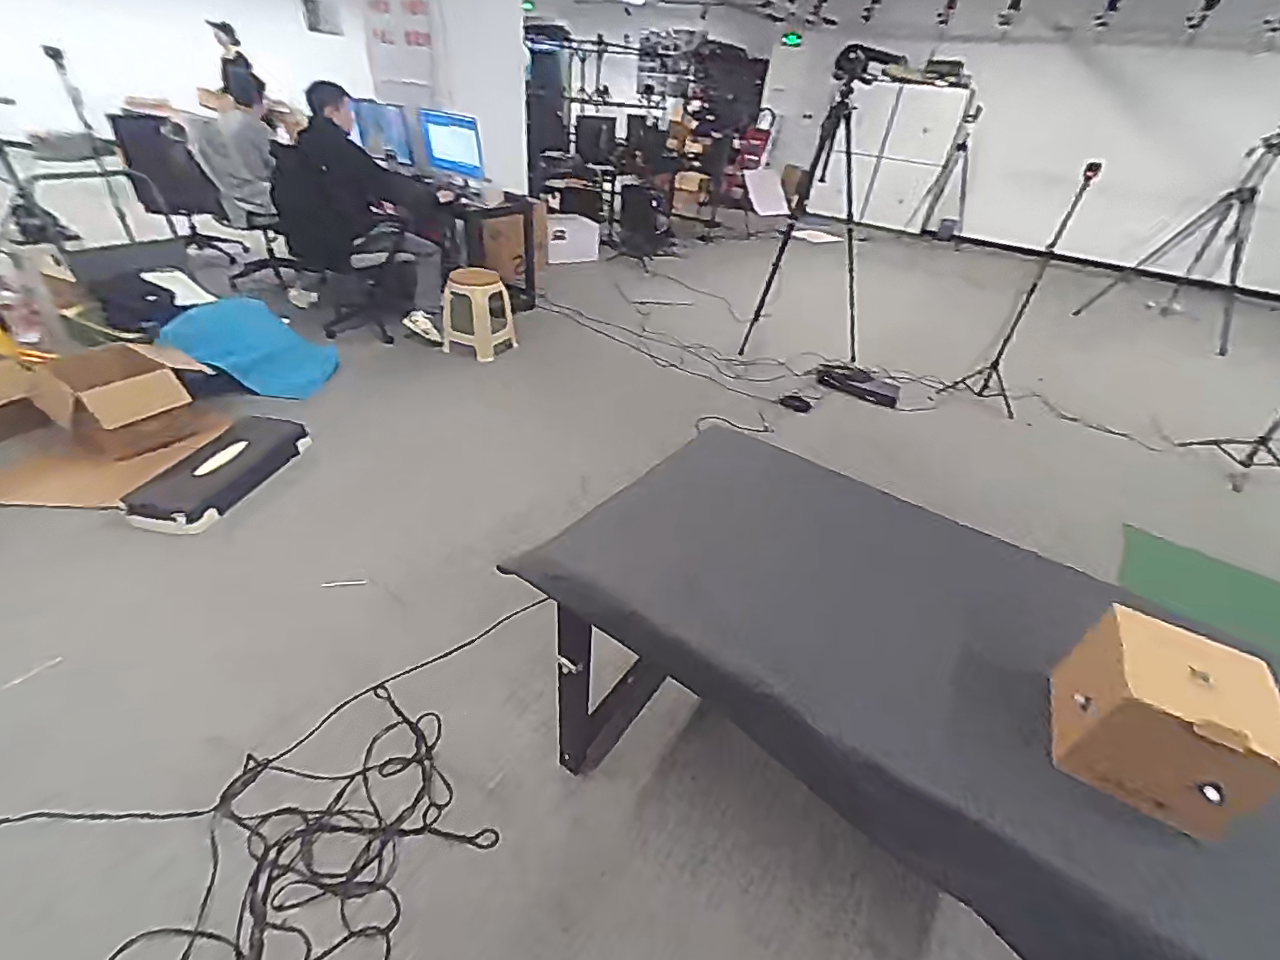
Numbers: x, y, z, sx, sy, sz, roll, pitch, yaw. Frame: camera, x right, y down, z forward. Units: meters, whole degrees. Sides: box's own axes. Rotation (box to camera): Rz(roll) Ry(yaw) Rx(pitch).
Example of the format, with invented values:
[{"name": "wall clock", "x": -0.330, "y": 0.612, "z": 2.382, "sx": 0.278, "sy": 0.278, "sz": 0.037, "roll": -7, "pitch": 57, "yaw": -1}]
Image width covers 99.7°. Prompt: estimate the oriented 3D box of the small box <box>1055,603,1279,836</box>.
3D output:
[{"name": "small box", "x": 0.665, "y": 0.300, "z": 0.688, "sx": 0.168, "sy": 0.176, "sz": 0.179, "roll": 24, "pitch": 38, "yaw": 22}]
